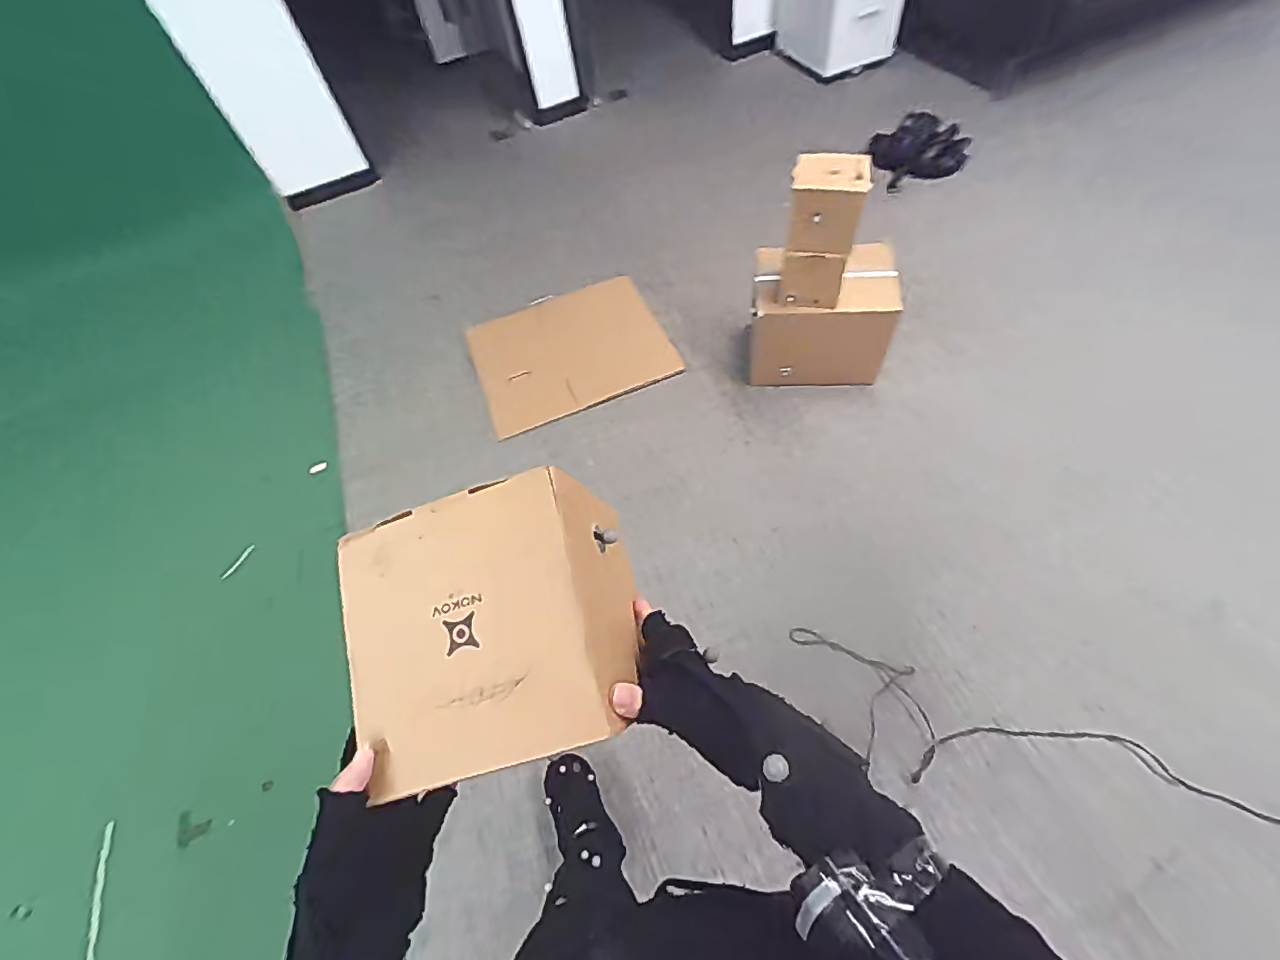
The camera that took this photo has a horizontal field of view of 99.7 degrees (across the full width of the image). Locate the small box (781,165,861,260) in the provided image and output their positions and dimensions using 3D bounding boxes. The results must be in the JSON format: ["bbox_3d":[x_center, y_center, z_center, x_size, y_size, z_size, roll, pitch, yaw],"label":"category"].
[{"bbox_3d":[0.468,-0.695,1.412,0.179,0.176,0.168,6,56,11],"label":"small box"}]

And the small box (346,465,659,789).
[{"bbox_3d":[-0.097,0.112,0.429,0.168,0.176,0.179,-19,72,9],"label":"small box"}]

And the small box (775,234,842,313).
[{"bbox_3d":[0.479,-0.597,1.541,0.168,0.176,0.179,7,58,13],"label":"small box"}]
